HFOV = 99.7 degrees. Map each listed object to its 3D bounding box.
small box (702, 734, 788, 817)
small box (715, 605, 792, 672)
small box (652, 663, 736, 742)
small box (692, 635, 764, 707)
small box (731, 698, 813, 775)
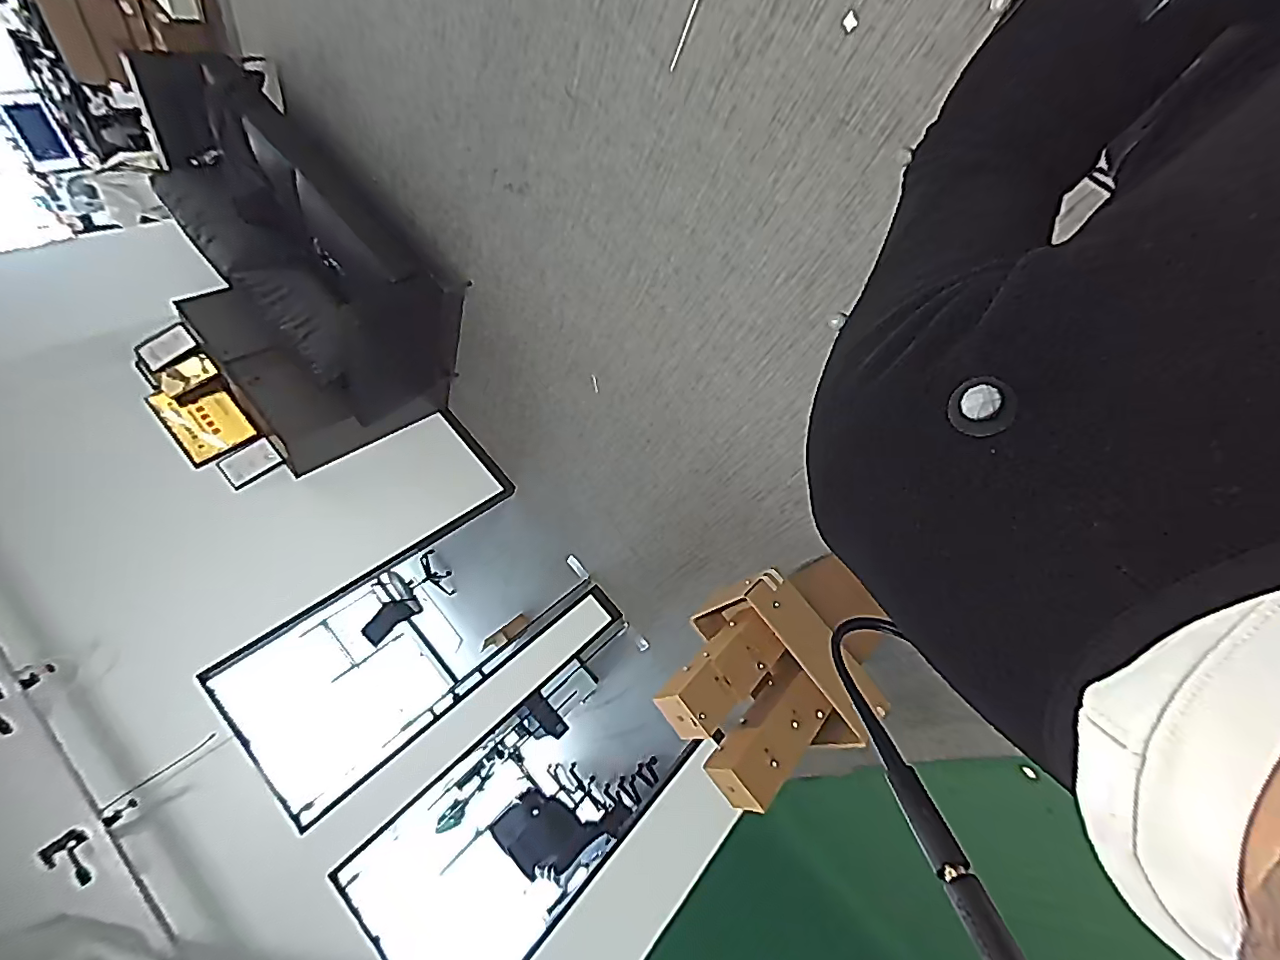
[{"bbox_3d":[0.339,0.940,1.737,0.168,0.176,0.179,51,145,4],"label":"small box"},{"bbox_3d":[0.408,0.573,1.933,0.168,0.176,0.179,53,144,4],"label":"small box"},{"bbox_3d":[0.178,0.719,1.750,0.168,0.176,0.179,52,145,4],"label":"small box"},{"bbox_3d":[0.297,0.649,1.838,0.168,0.176,0.179,53,145,4],"label":"small box"},{"bbox_3d":[0.450,0.865,1.830,0.168,0.176,0.179,51,145,5],"label":"small box"}]
